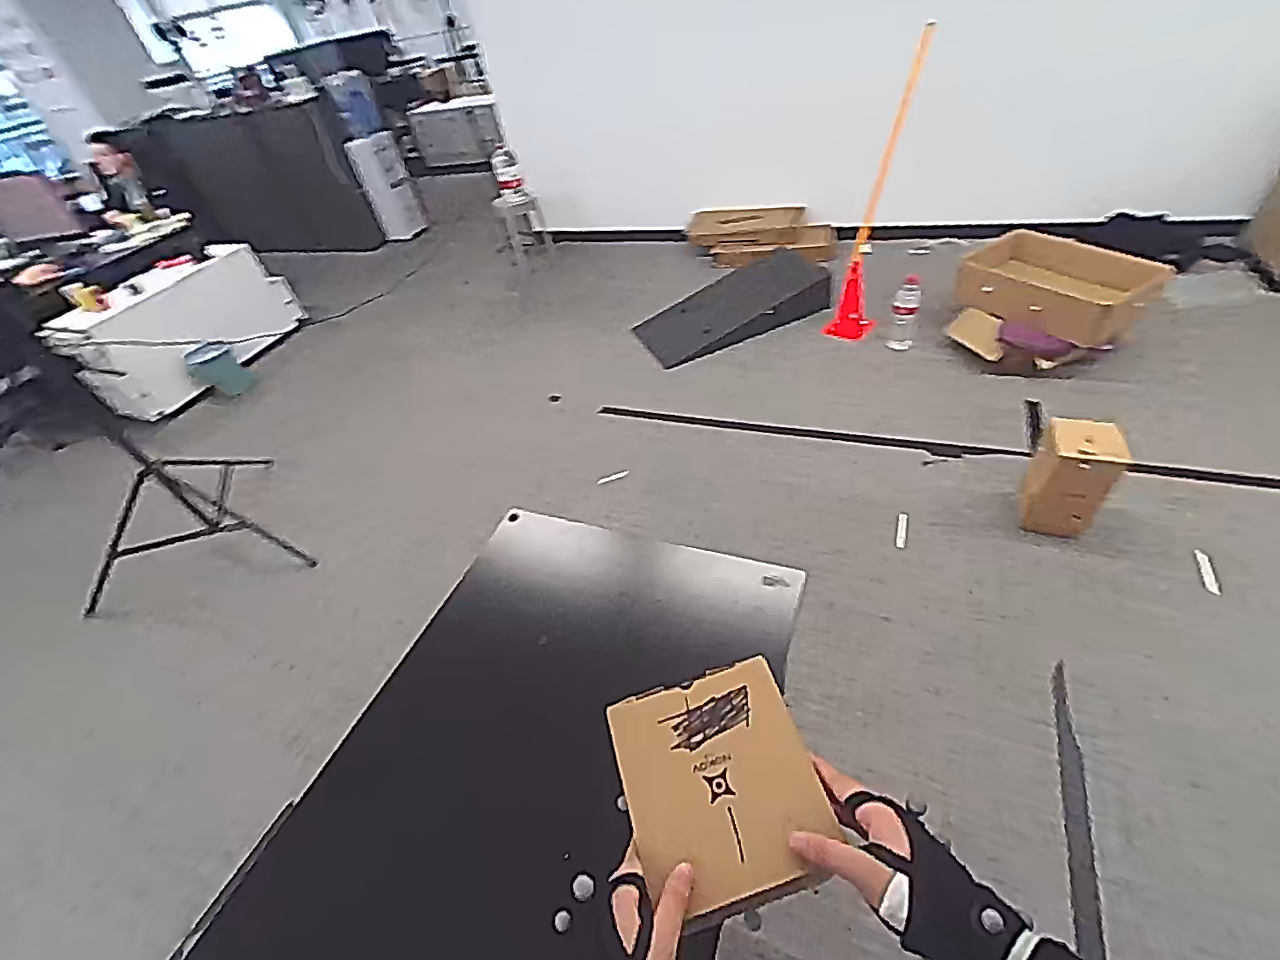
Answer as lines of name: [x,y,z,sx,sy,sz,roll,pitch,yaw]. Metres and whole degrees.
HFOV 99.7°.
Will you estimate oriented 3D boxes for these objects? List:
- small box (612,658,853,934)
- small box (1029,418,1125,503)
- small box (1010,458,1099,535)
small box: [0.081,0.311,0.533,0.168,0.176,0.179,-17,48,-4]
small box: [1.281,-0.060,1.602,0.168,0.176,0.179,8,46,20]
small box: [1.306,0.055,1.716,0.179,0.176,0.168,8,47,22]
